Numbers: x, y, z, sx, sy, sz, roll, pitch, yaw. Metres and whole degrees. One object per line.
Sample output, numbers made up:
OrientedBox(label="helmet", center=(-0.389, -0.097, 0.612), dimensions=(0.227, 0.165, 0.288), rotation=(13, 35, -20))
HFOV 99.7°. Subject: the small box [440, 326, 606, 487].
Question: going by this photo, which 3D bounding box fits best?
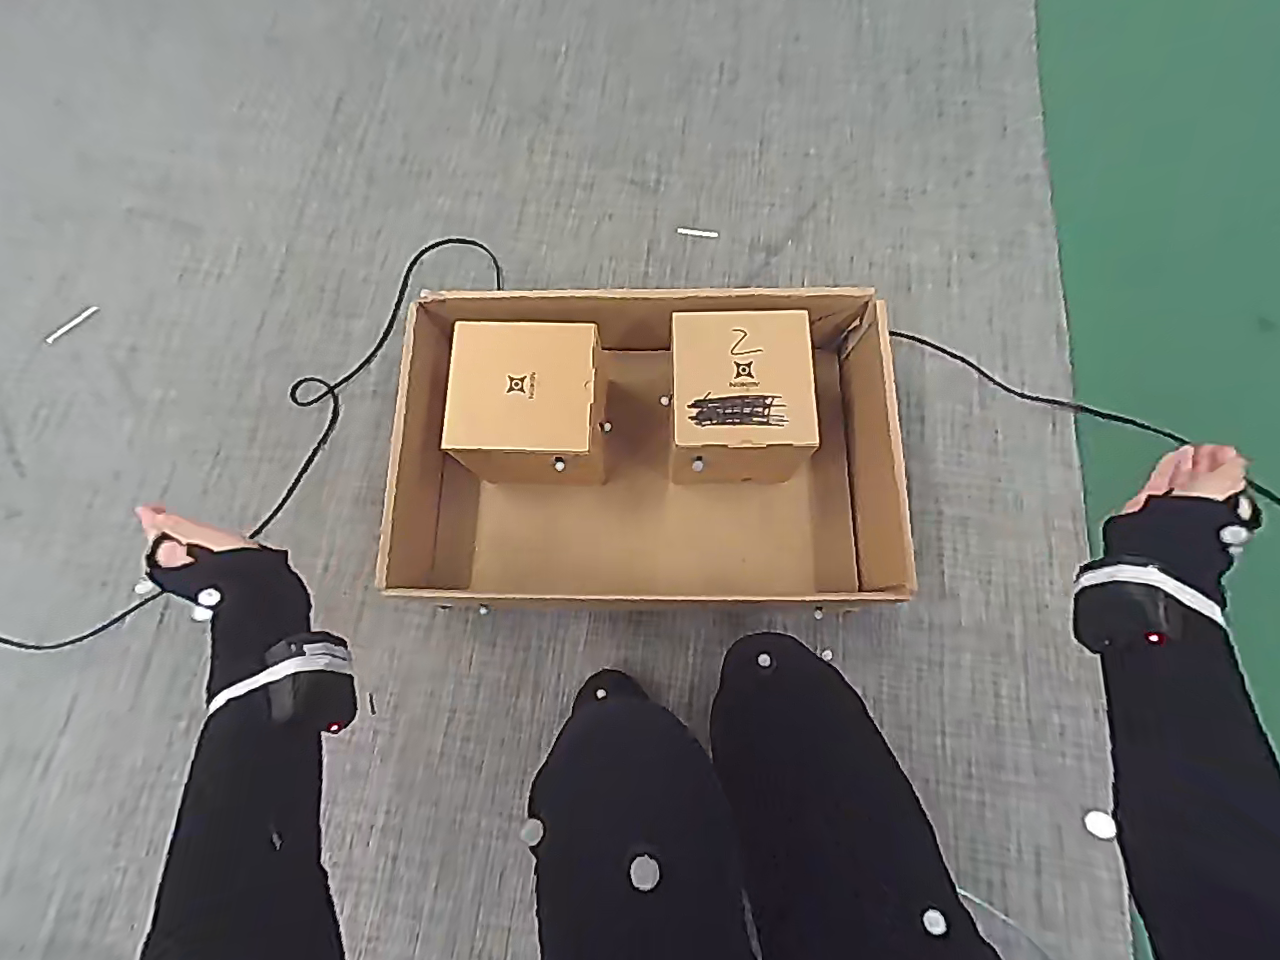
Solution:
OrientedBox(label="small box", center=(-0.142, -0.088, 0.721), dimensions=(0.179, 0.176, 0.168), rotation=(1, 76, 1))
